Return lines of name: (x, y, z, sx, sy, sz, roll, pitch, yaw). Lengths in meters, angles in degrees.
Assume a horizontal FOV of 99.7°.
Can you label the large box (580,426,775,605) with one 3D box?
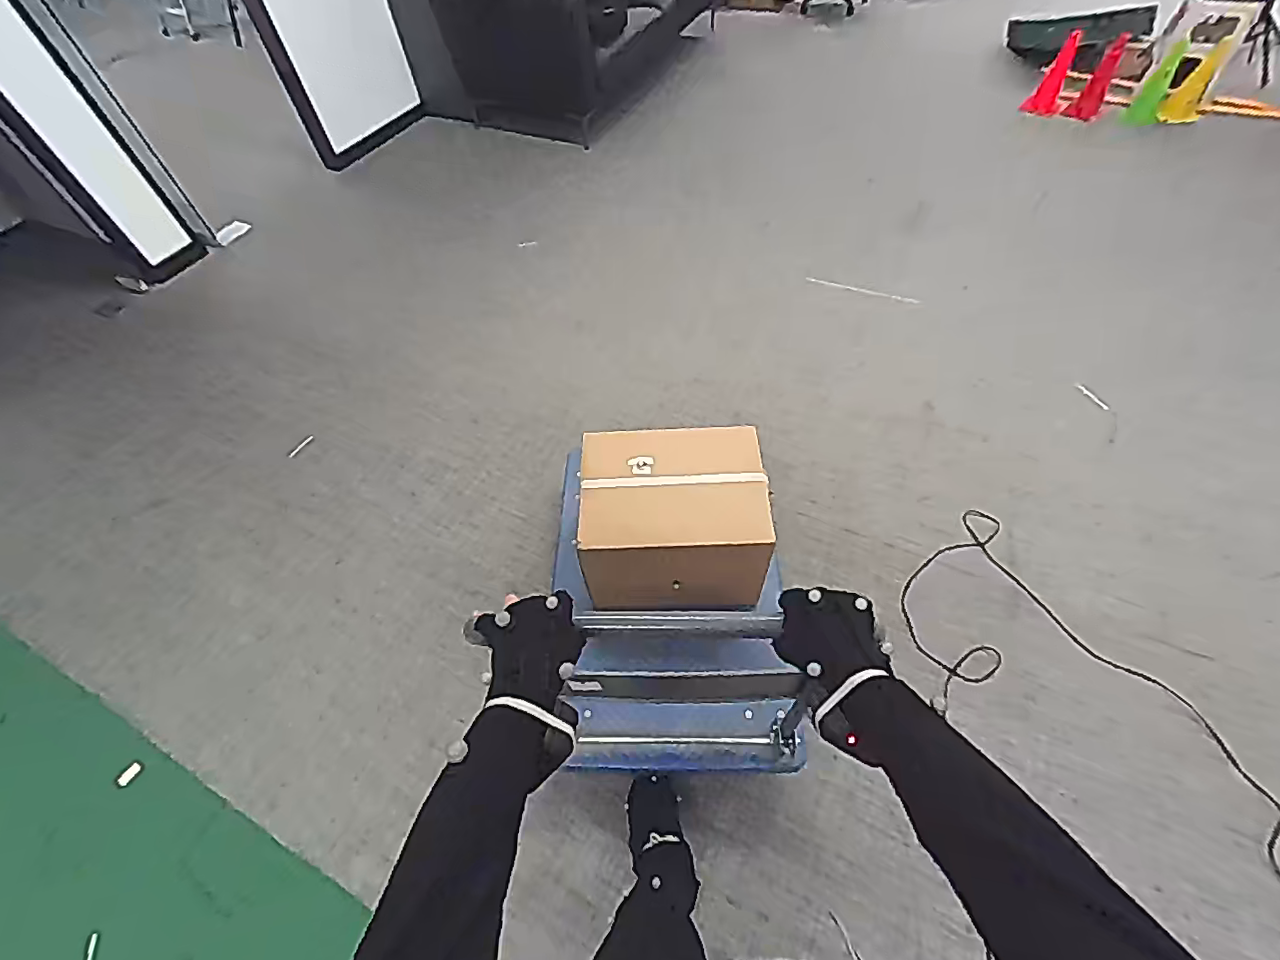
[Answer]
large box: (0.082, 0.095, 1.304, 0.408, 0.320, 0.320, -3, 54, 2)
